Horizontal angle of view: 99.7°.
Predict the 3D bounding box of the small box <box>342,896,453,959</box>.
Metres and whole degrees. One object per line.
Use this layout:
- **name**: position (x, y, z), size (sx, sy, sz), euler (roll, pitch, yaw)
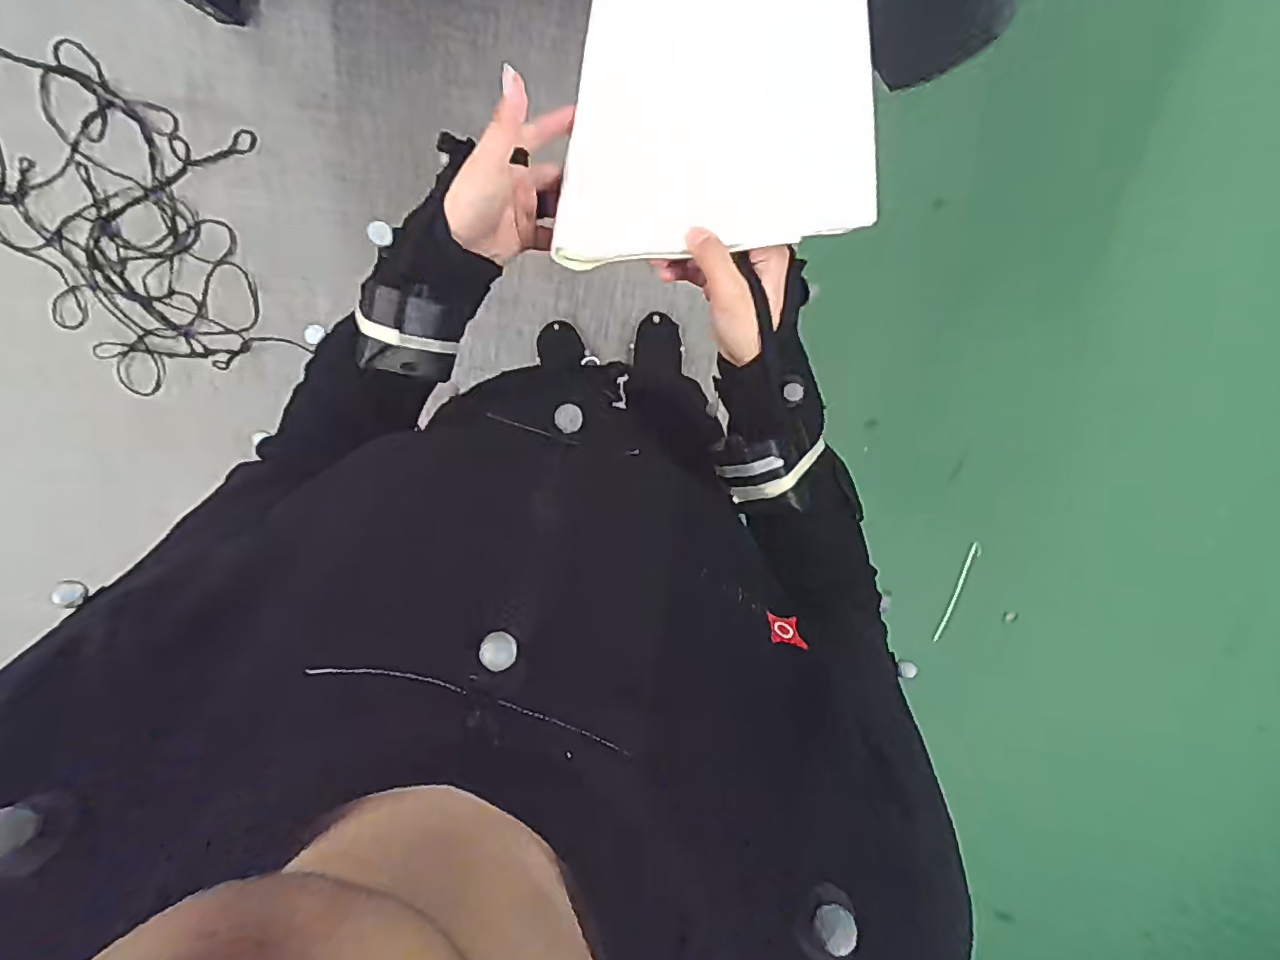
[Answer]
- **small box**: position (-0.454, 0.909, 0.989), size (0.168, 0.176, 0.179), euler (11, 110, -1)
